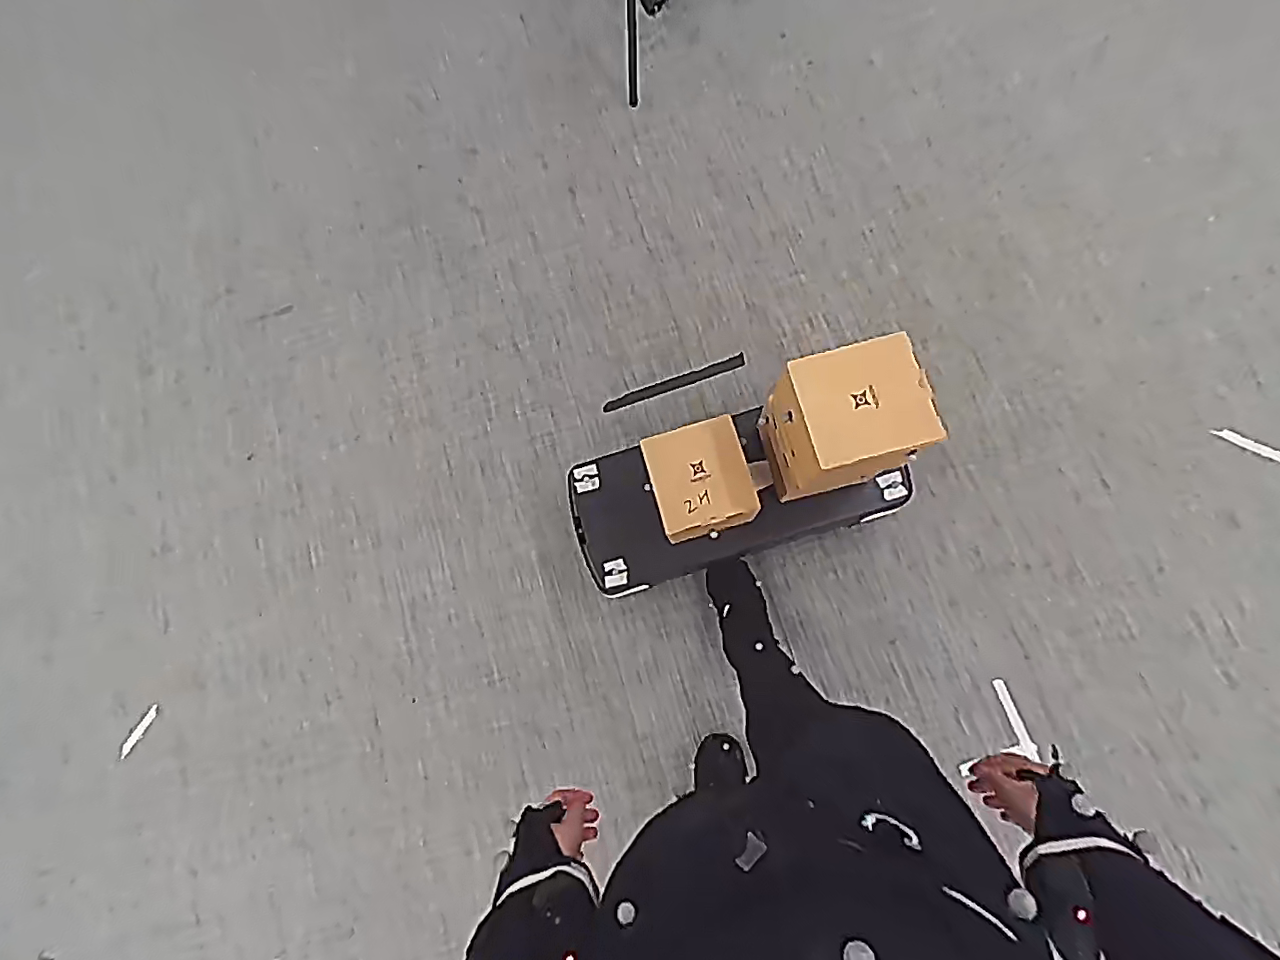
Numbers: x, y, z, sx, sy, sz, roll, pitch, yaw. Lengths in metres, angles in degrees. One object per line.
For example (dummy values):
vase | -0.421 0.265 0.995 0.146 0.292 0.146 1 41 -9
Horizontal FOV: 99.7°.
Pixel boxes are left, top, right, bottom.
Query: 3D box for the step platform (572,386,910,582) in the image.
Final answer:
step platform | 0.200 -0.007 1.164 0.684 0.204 0.286 -18 77 3

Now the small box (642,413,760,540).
small box | 0.108 0.002 0.994 0.168 0.176 0.179 -16 78 3

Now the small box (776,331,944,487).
small box | 0.316 -0.097 0.824 0.179 0.176 0.168 -15 78 2
